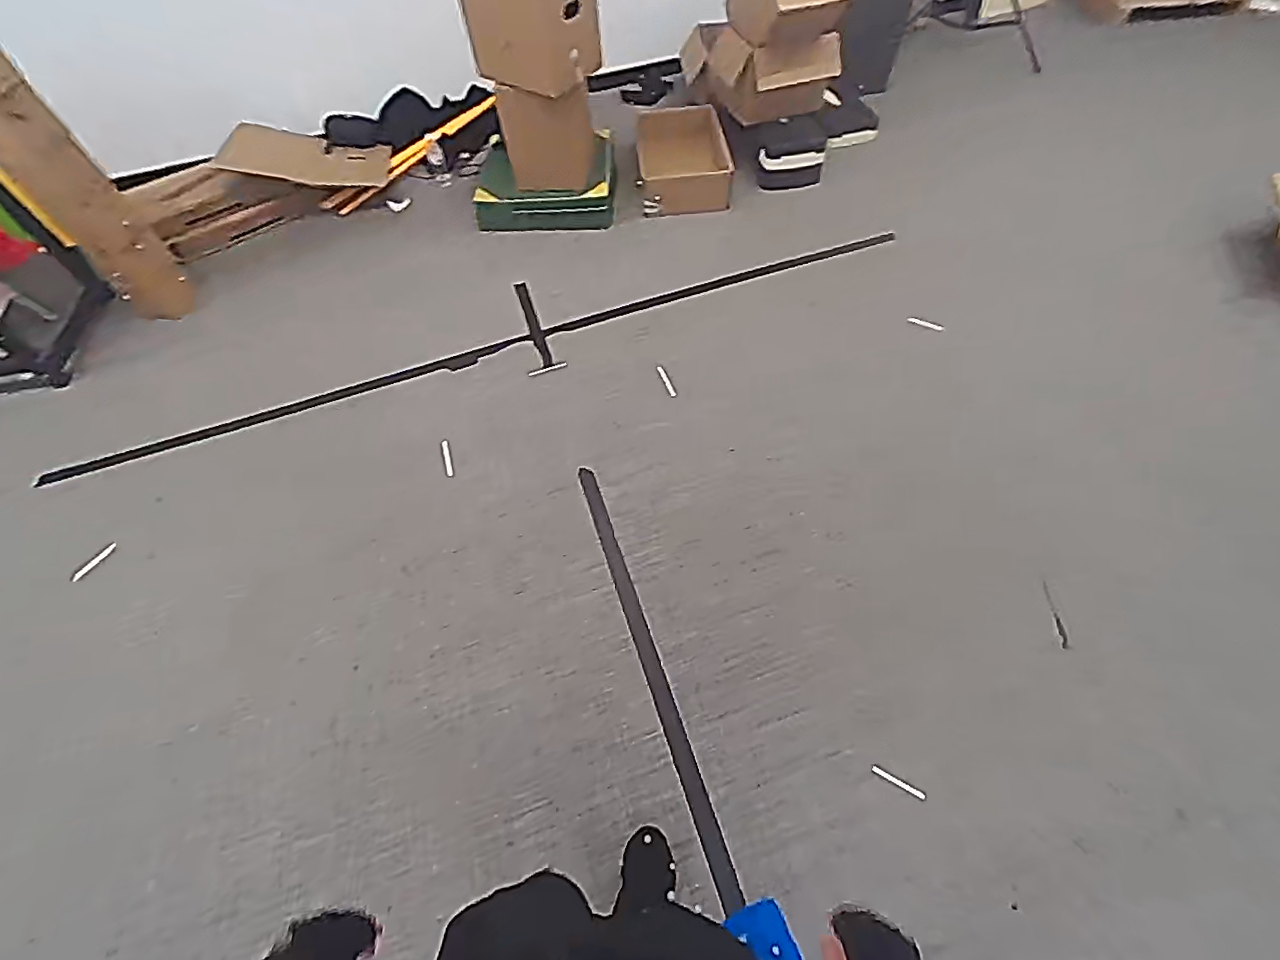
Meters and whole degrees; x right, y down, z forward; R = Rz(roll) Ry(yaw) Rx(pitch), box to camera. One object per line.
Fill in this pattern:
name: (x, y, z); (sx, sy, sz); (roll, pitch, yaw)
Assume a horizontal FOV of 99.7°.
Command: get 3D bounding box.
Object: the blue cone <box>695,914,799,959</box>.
blue cone: (0.222, 0.887, 0.901); (0.192, 0.380, 0.193); (-22, 60, -12)
